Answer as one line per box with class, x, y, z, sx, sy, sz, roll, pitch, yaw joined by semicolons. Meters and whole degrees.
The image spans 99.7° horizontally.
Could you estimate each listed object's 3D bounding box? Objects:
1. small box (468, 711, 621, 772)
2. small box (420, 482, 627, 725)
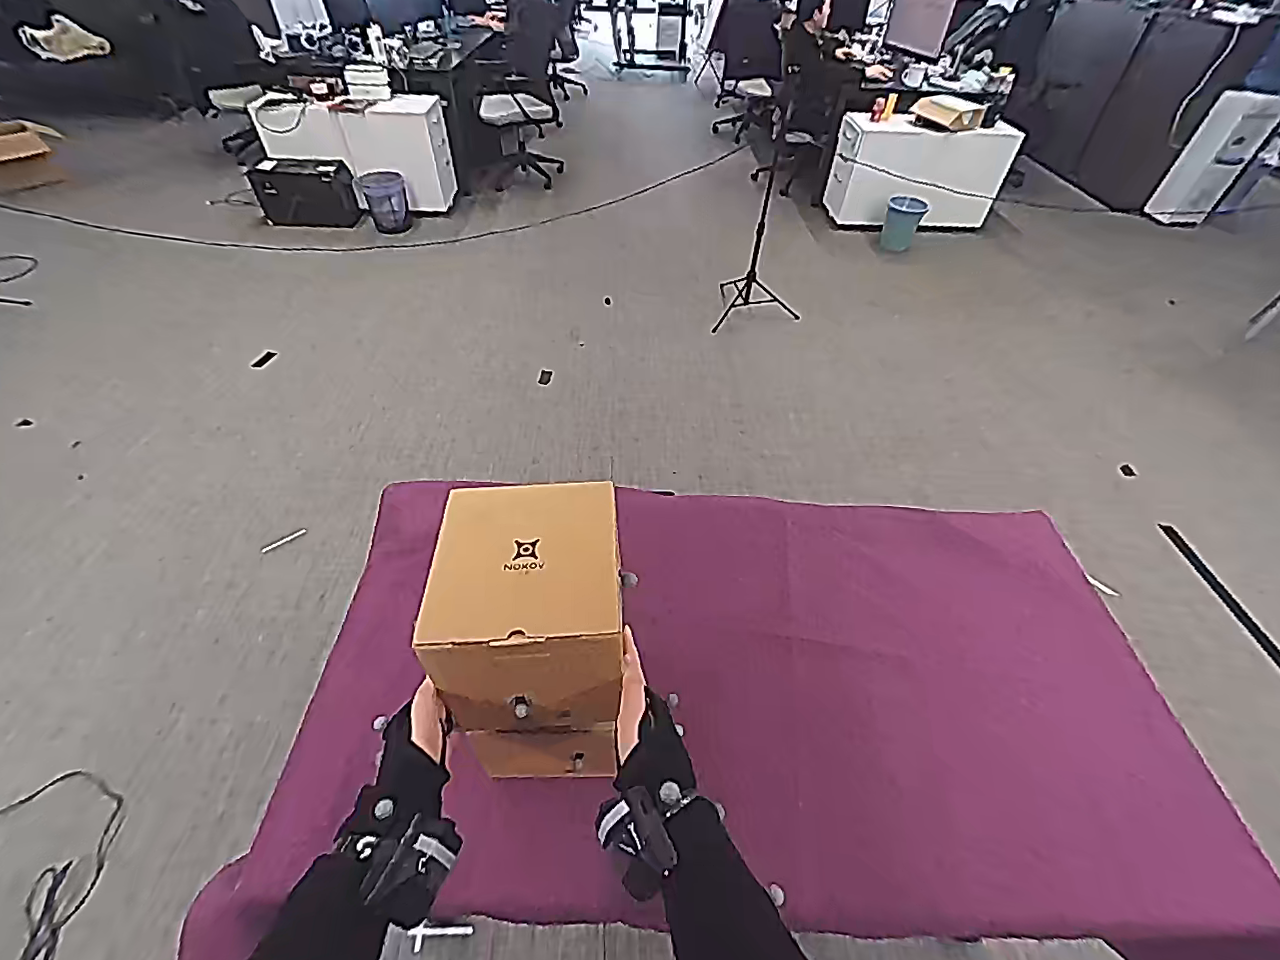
small box;-0.106;0.260;0.692;0.168;0.176;0.179;2;47;-2
small box;-0.099;0.122;0.542;0.168;0.176;0.179;-3;46;-3
